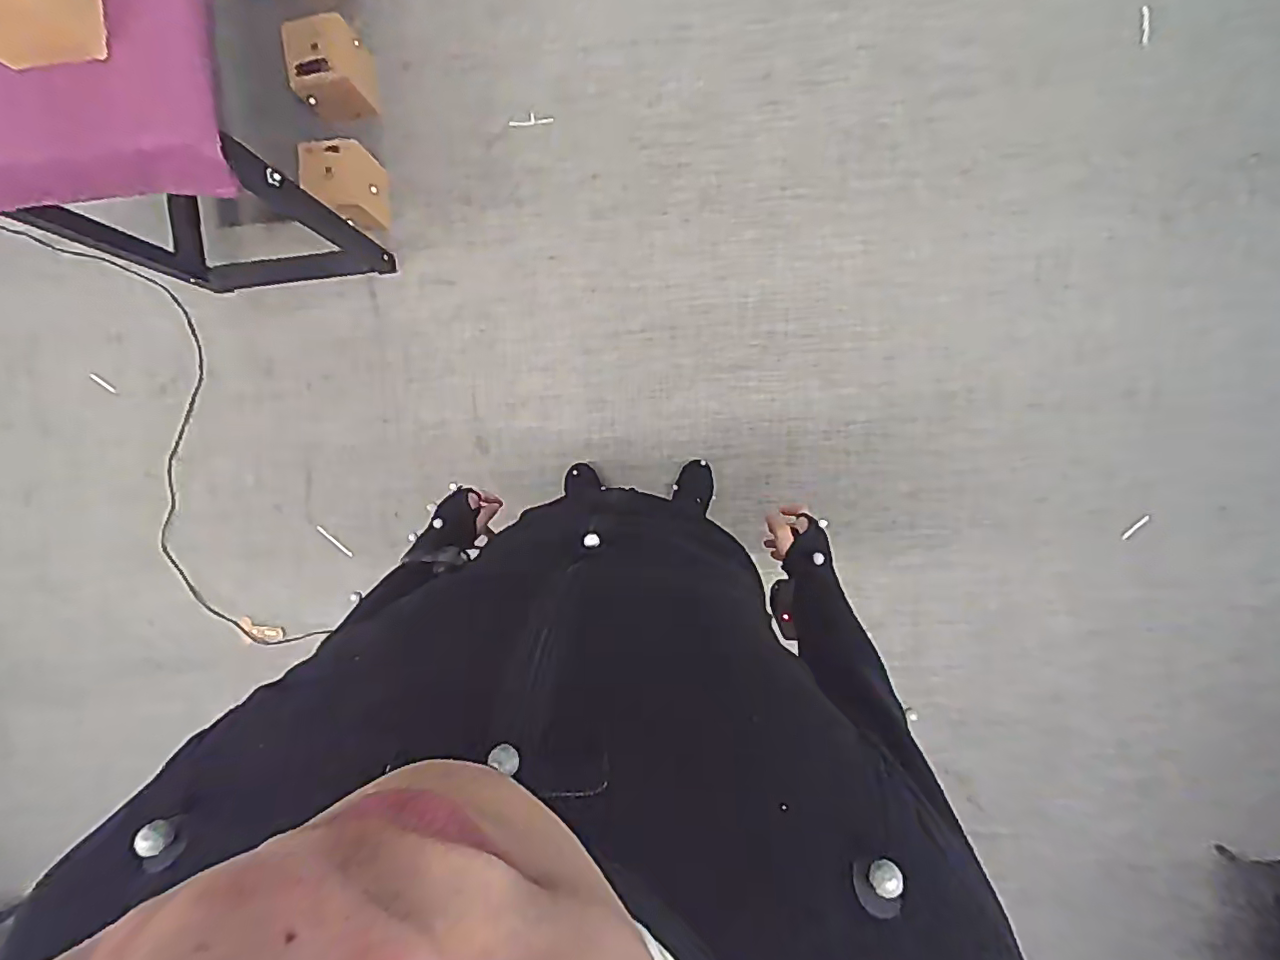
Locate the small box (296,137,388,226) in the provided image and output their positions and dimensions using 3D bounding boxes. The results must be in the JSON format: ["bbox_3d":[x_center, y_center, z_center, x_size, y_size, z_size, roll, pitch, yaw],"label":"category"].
[{"bbox_3d":[-0.840,-0.840,1.540,0.168,0.176,0.179,-2,94,3],"label":"small box"}]

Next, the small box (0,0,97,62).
[{"bbox_3d":[-0.988,-0.784,0.824,0.179,0.176,0.168,-4,93,4],"label":"small box"}]
